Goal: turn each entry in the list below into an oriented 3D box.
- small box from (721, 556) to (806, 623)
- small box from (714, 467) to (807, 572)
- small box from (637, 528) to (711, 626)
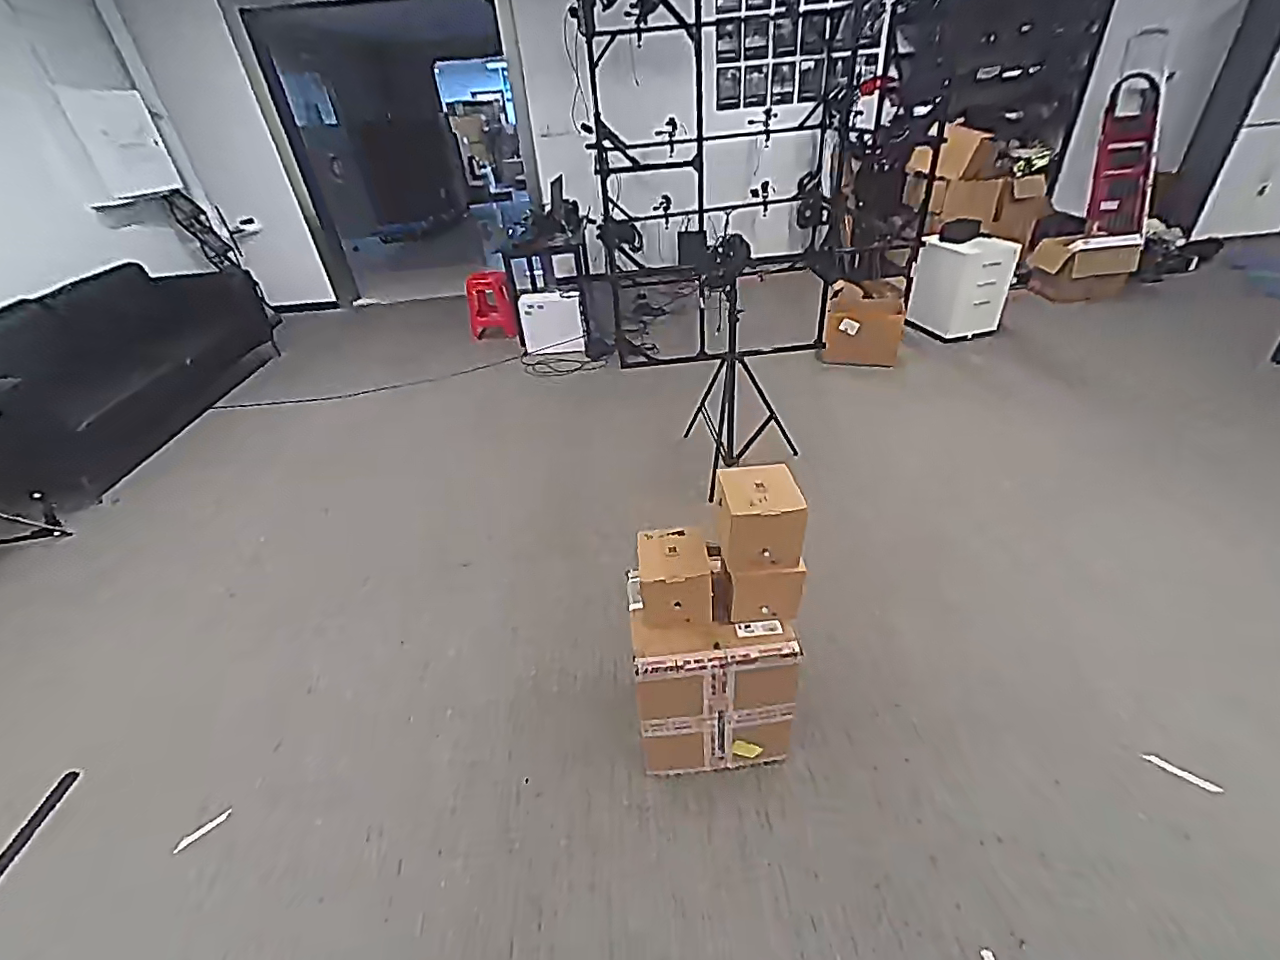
[{"bbox_3d":[0.293,0.229,1.328,0.168,0.176,0.179,-3,37,0],"label":"small box"},{"bbox_3d":[0.267,0.090,1.242,0.168,0.176,0.179,-5,36,-2],"label":"small box"},{"bbox_3d":[0.084,0.244,1.332,0.168,0.176,0.179,-6,37,2],"label":"small box"}]
